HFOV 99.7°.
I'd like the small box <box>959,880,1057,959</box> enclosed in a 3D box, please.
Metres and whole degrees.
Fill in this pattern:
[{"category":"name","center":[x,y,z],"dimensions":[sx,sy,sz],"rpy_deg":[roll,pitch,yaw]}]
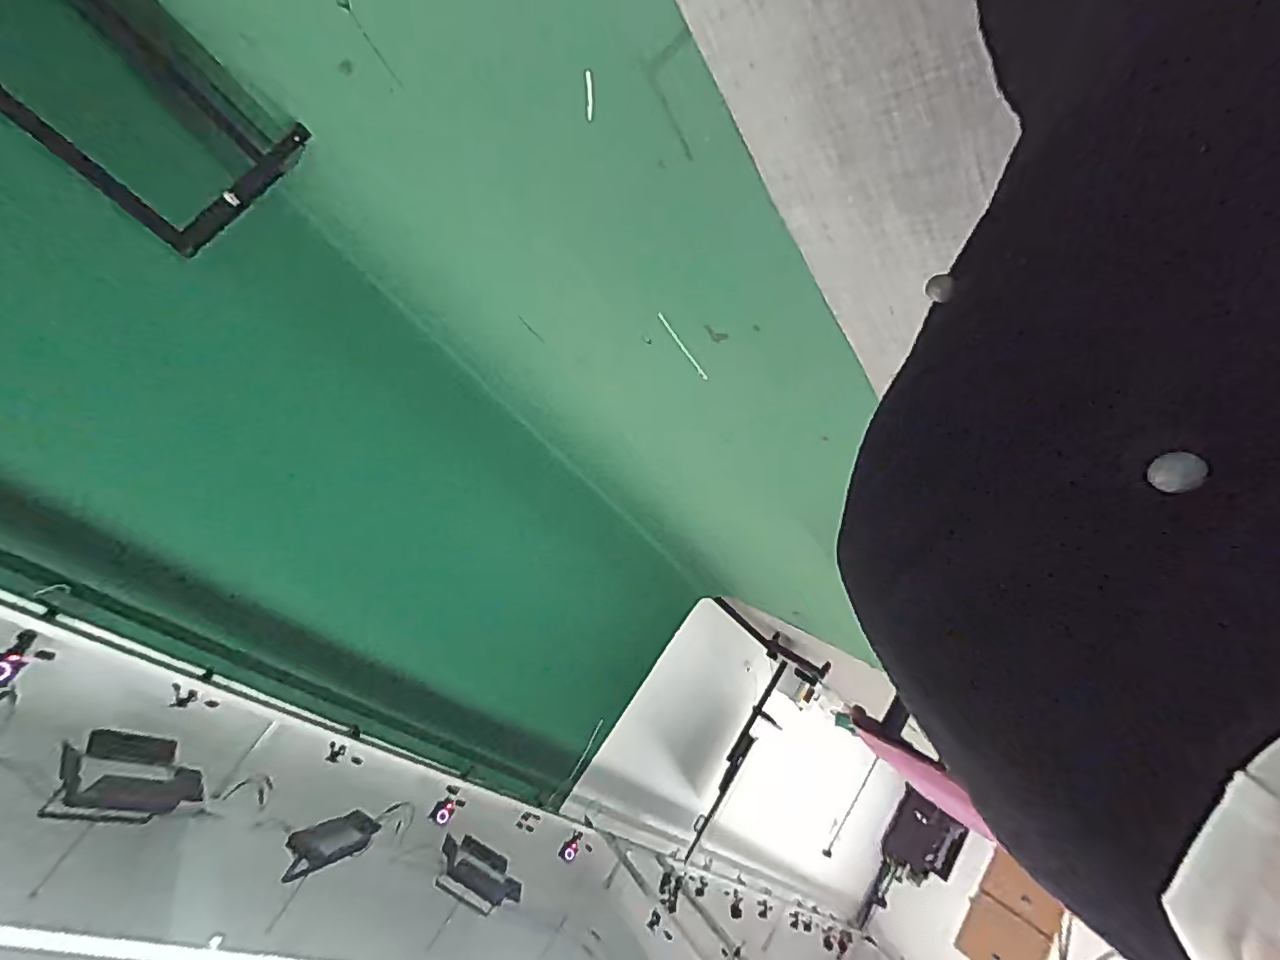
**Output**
[{"category":"small box","center":[1.001,1.233,1.461],"dimensions":[0.179,0.176,0.168],"rpy_deg":[21,159,48]}]

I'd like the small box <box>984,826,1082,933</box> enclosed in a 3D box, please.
[{"category":"small box","center":[1.095,1.107,1.502],"dimensions":[0.179,0.176,0.168],"rpy_deg":[22,161,47]}]
